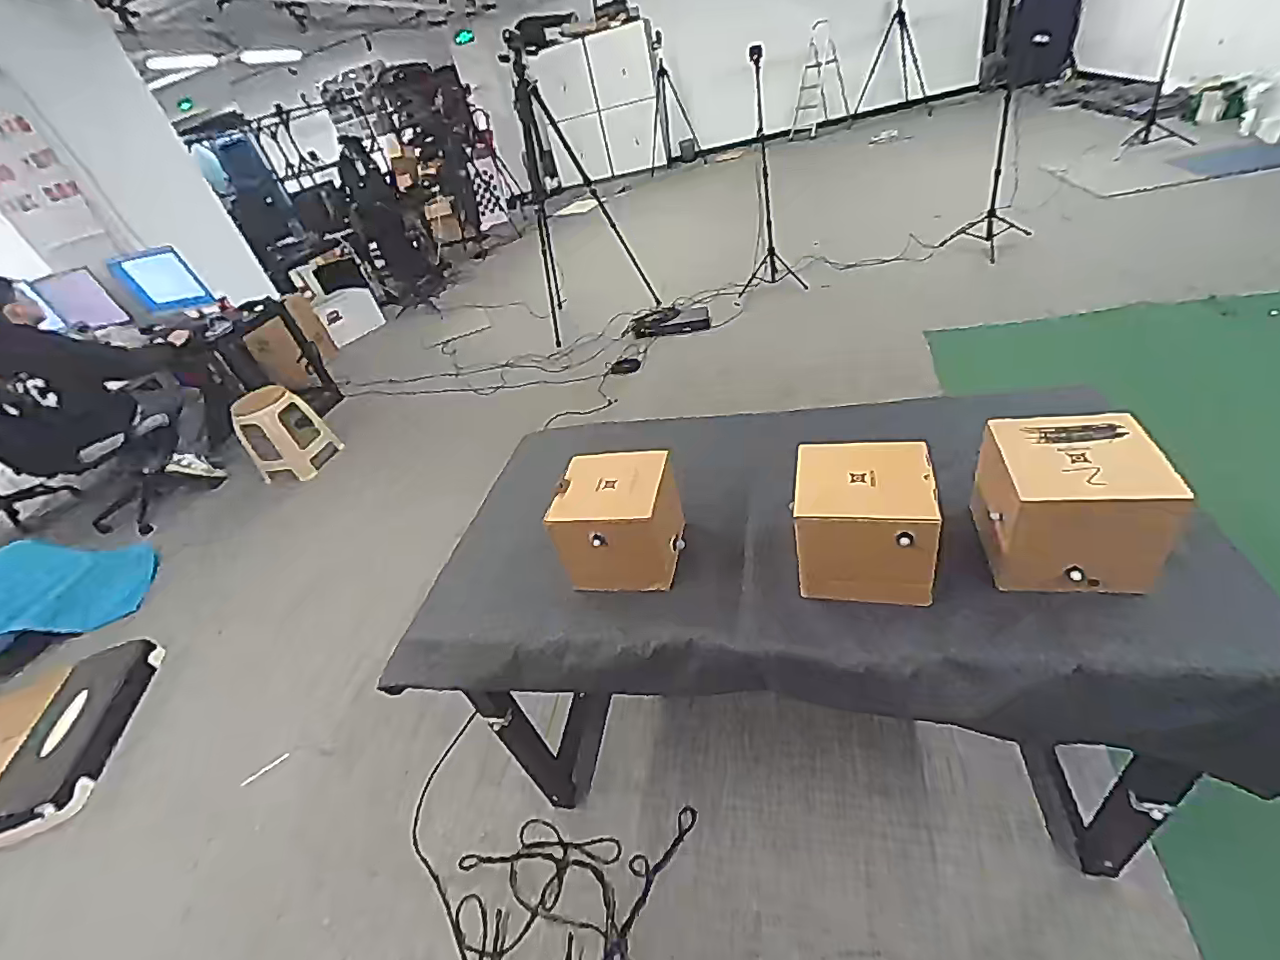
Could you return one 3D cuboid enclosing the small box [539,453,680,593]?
[{"bbox_3d":[-0.040,0.073,0.903,0.179,0.176,0.168,-2,39,16],"label":"small box"}]

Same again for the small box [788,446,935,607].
[{"bbox_3d":[0.313,0.066,0.783,0.179,0.176,0.168,0,38,20],"label":"small box"}]
